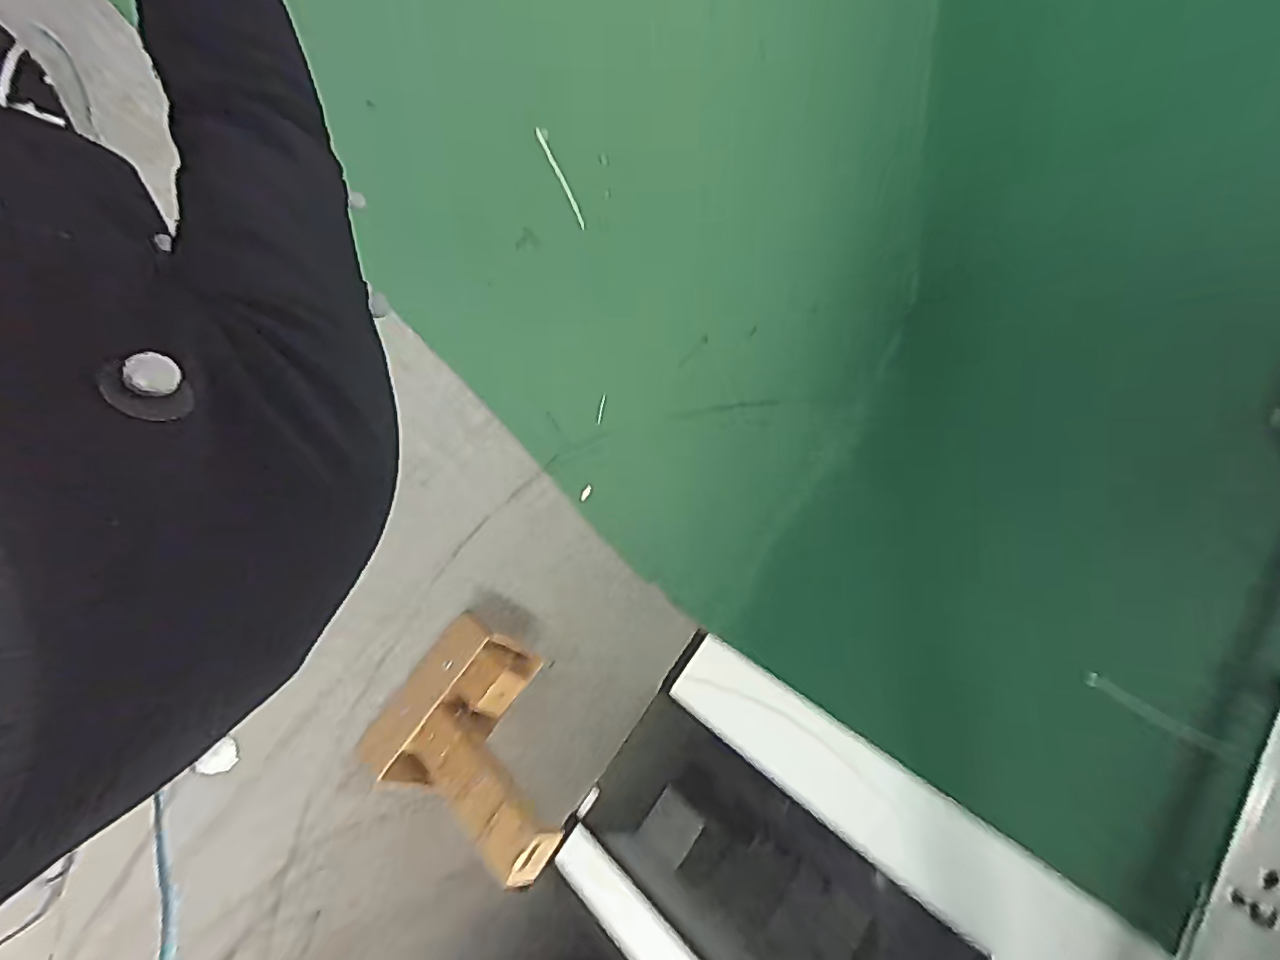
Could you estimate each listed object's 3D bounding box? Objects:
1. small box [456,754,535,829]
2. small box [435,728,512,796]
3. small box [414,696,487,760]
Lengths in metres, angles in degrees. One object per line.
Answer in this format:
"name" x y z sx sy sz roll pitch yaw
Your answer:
"small box" -0.516 1.102 1.918 0.168 0.176 0.179 -52 144 -13
"small box" -0.620 1.051 2.008 0.168 0.176 0.179 -54 144 -12
"small box" -0.744 0.970 2.114 0.168 0.176 0.179 -57 145 -10
